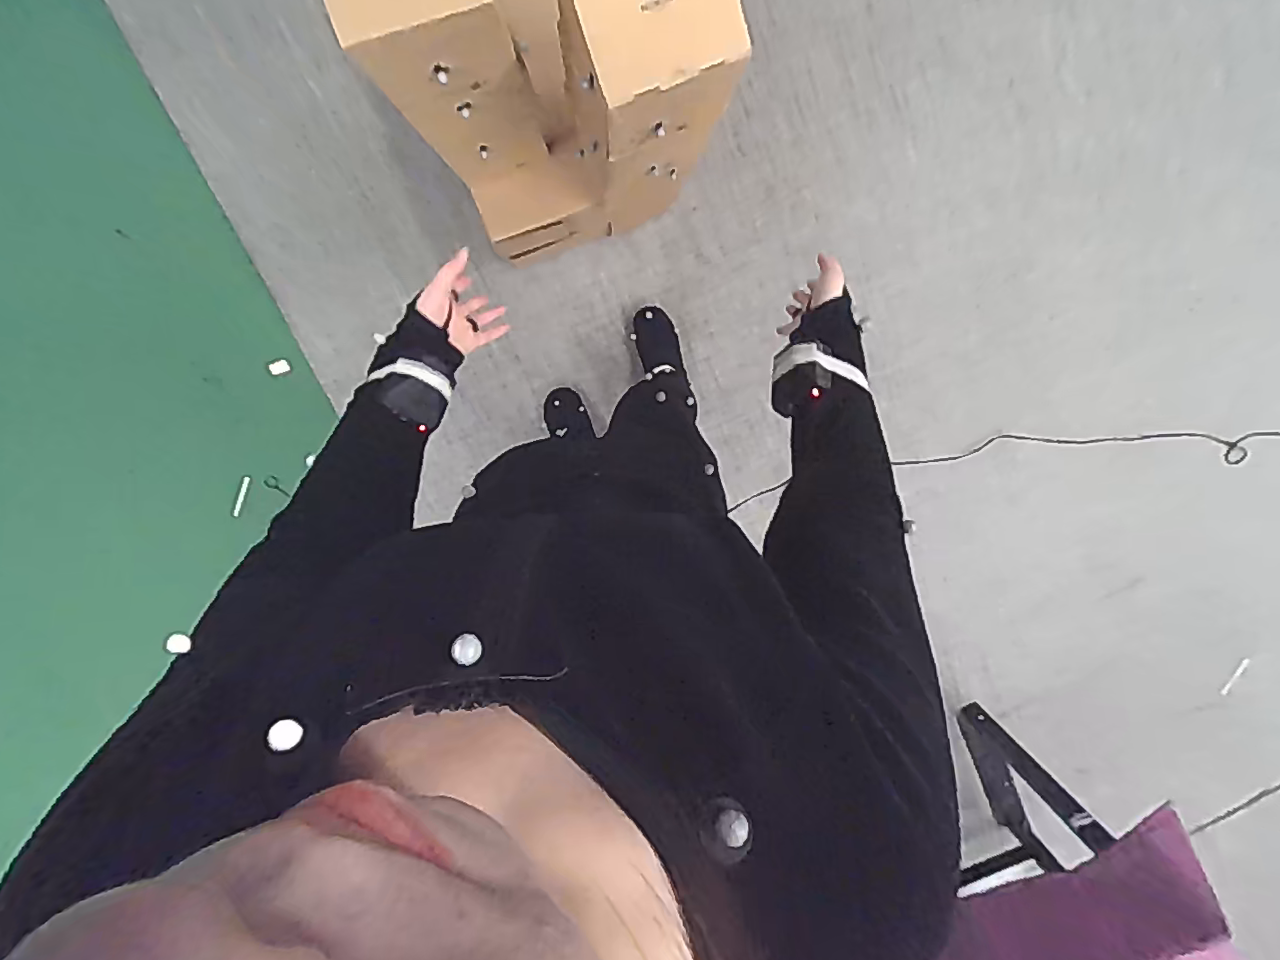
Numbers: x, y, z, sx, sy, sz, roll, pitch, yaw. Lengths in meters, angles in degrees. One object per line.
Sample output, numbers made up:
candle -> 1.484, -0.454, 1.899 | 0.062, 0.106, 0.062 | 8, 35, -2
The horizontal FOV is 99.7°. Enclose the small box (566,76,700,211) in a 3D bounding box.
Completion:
small box -> -0.014, -0.600, 0.943 | 0.179, 0.176, 0.168 | -22, 103, 2

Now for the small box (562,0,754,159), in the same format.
small box -> 0.011, -0.515, 0.629 | 0.168, 0.176, 0.179 | -20, 104, 1

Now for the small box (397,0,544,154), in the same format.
small box -> -0.256, -0.596, 0.761 | 0.179, 0.176, 0.168 | -21, 103, 5

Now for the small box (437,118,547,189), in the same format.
small box -> -0.271, -0.635, 0.923 | 0.168, 0.176, 0.179 | -20, 103, 2

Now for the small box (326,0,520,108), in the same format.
small box -> -0.245, -0.552, 0.604 | 0.168, 0.176, 0.179 | -15, 103, 1
